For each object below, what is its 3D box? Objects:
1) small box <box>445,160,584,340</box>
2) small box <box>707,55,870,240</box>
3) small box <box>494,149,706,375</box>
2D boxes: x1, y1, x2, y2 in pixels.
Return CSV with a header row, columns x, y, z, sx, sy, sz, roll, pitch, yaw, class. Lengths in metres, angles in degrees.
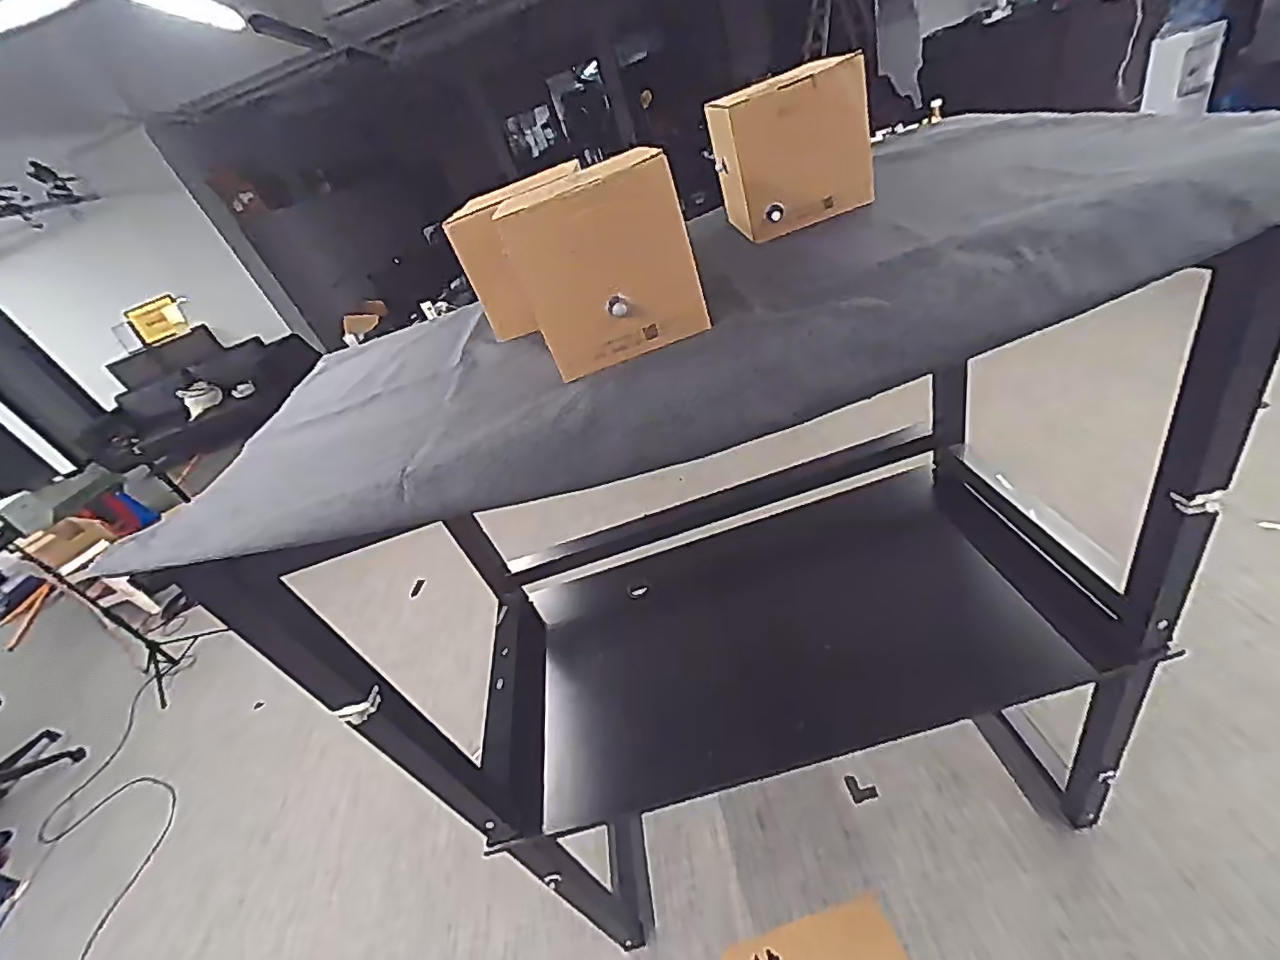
x,y,z,sx,sy,sz,roll,pitch,yaw,class
-0.139,-0.325,0.768,0.179,0.176,0.168,-16,35,9,small box
0.204,-0.453,0.751,0.168,0.176,0.179,-17,34,7,small box
-0.039,-0.237,0.588,0.168,0.176,0.179,-20,34,4,small box
